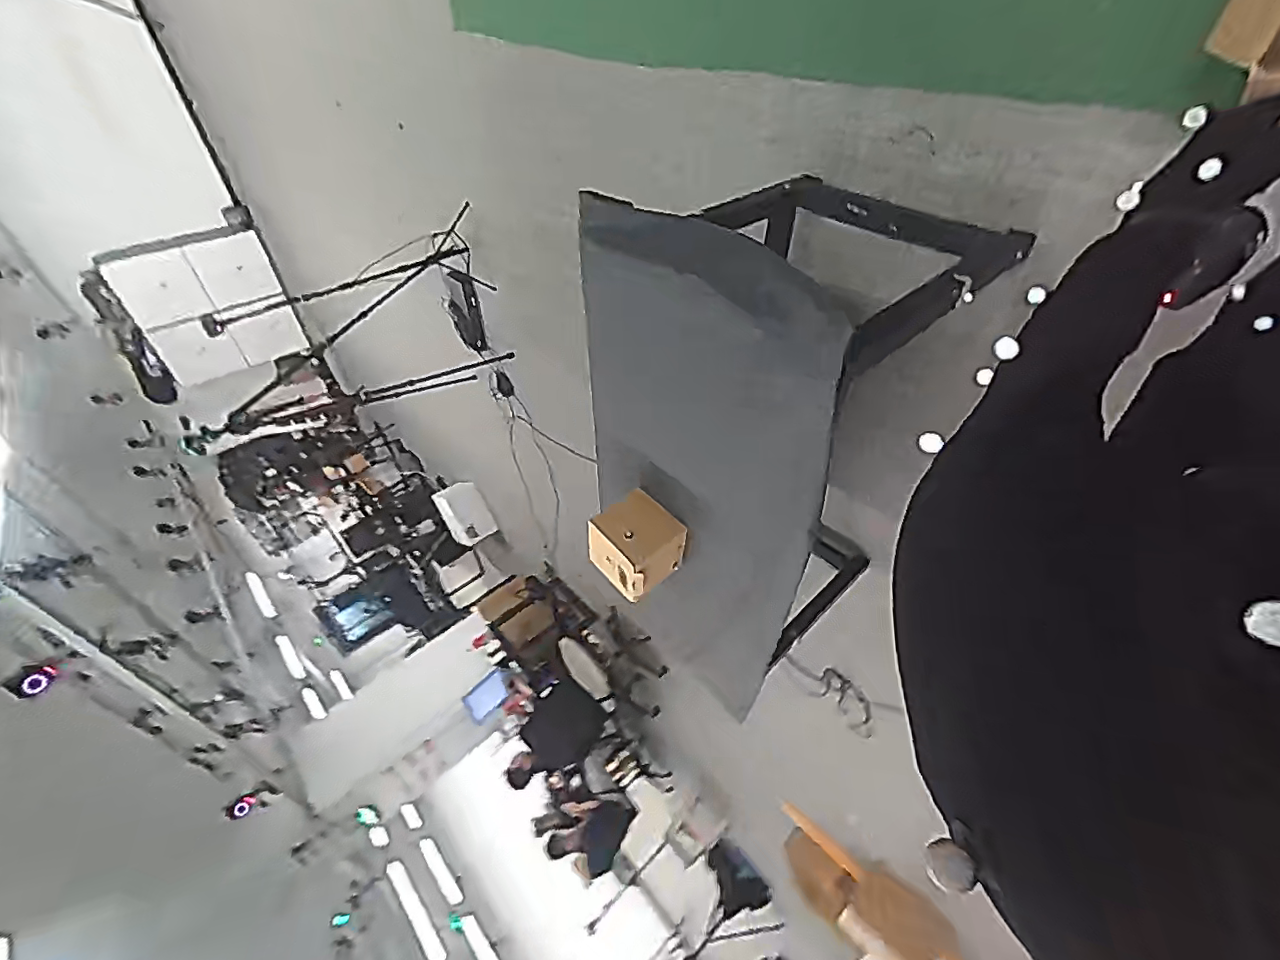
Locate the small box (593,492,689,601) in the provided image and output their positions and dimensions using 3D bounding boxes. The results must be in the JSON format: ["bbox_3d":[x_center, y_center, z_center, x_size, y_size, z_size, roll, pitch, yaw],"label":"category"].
[{"bbox_3d":[0.002,0.158,1.347,0.179,0.176,0.168,40,147,29],"label":"small box"}]
